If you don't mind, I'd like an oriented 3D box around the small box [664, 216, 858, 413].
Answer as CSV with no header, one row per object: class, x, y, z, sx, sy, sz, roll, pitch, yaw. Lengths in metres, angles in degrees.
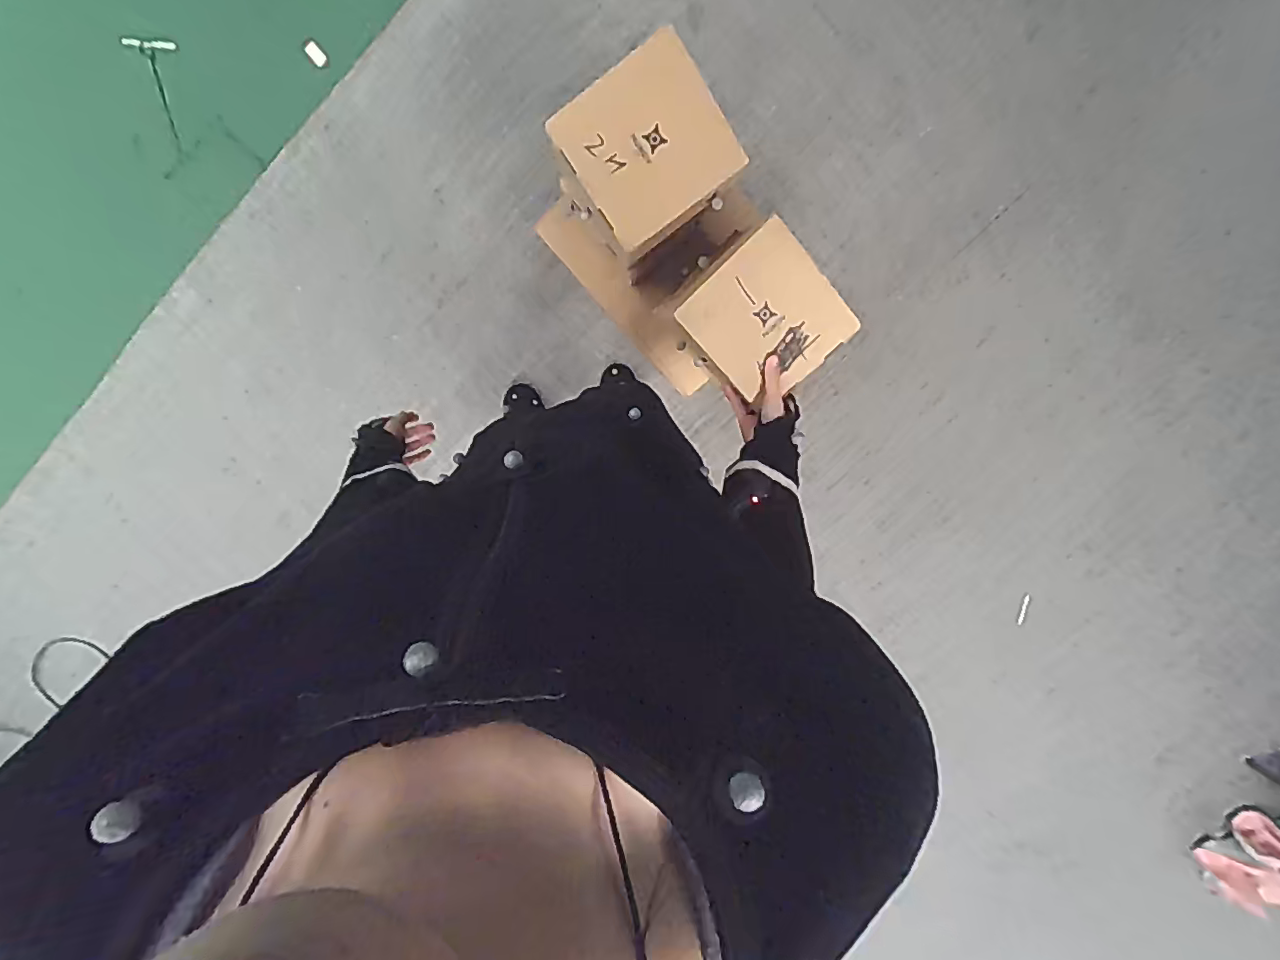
small box,0.151,-0.221,0.734,0.168,0.176,0.179,-42,105,10
